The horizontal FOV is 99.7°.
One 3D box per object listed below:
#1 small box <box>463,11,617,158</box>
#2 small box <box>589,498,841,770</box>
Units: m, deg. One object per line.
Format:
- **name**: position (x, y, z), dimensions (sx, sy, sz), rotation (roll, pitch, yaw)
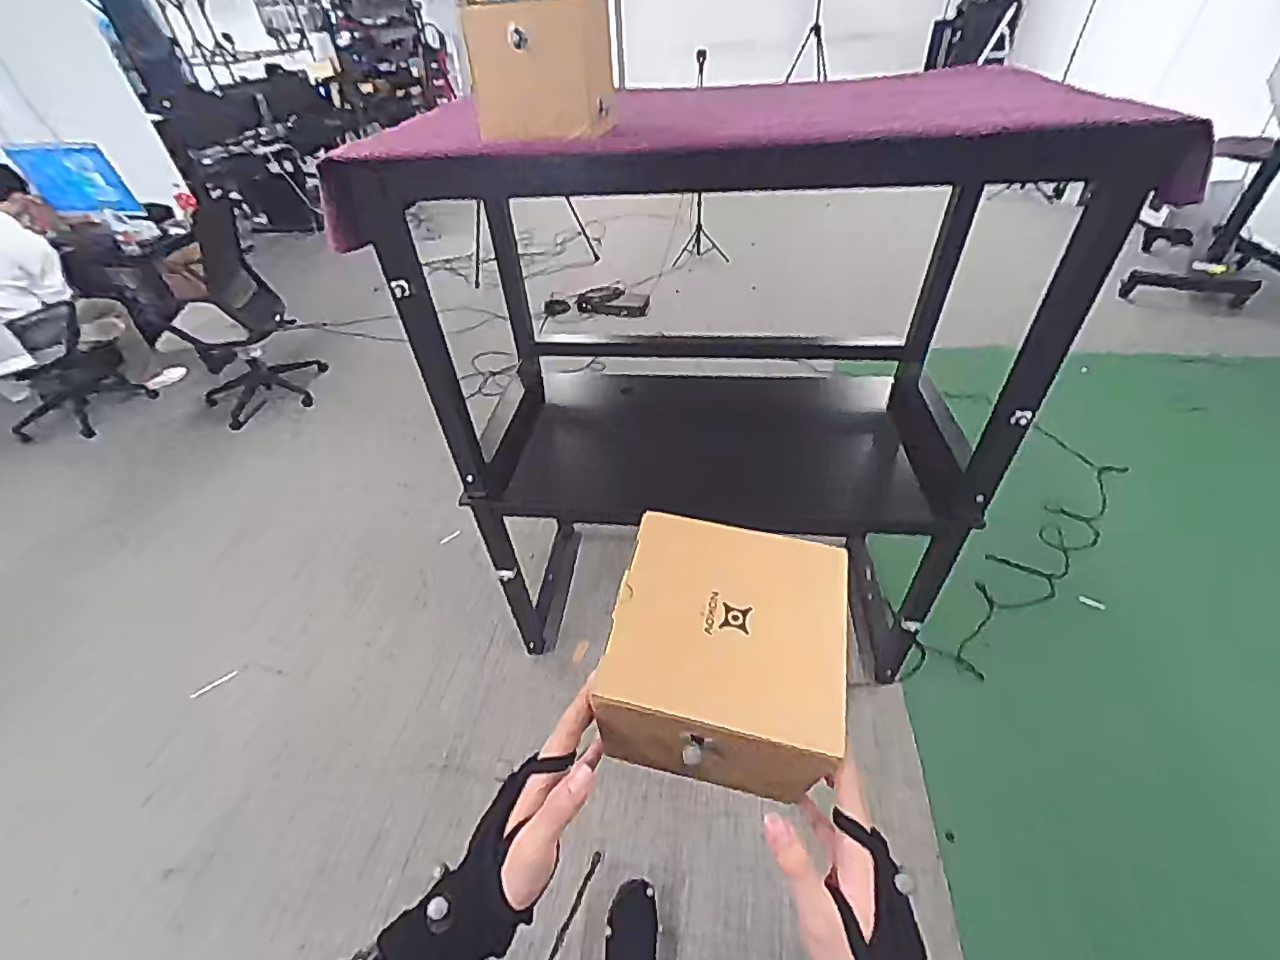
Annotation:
- **small box**: position (-0.142, -0.610, 0.839), dimensions (0.179, 0.176, 0.168), rotation (5, 41, 10)
- **small box**: position (0.069, 0.142, 0.486), dimensions (0.179, 0.176, 0.168), rotation (9, 52, 11)
